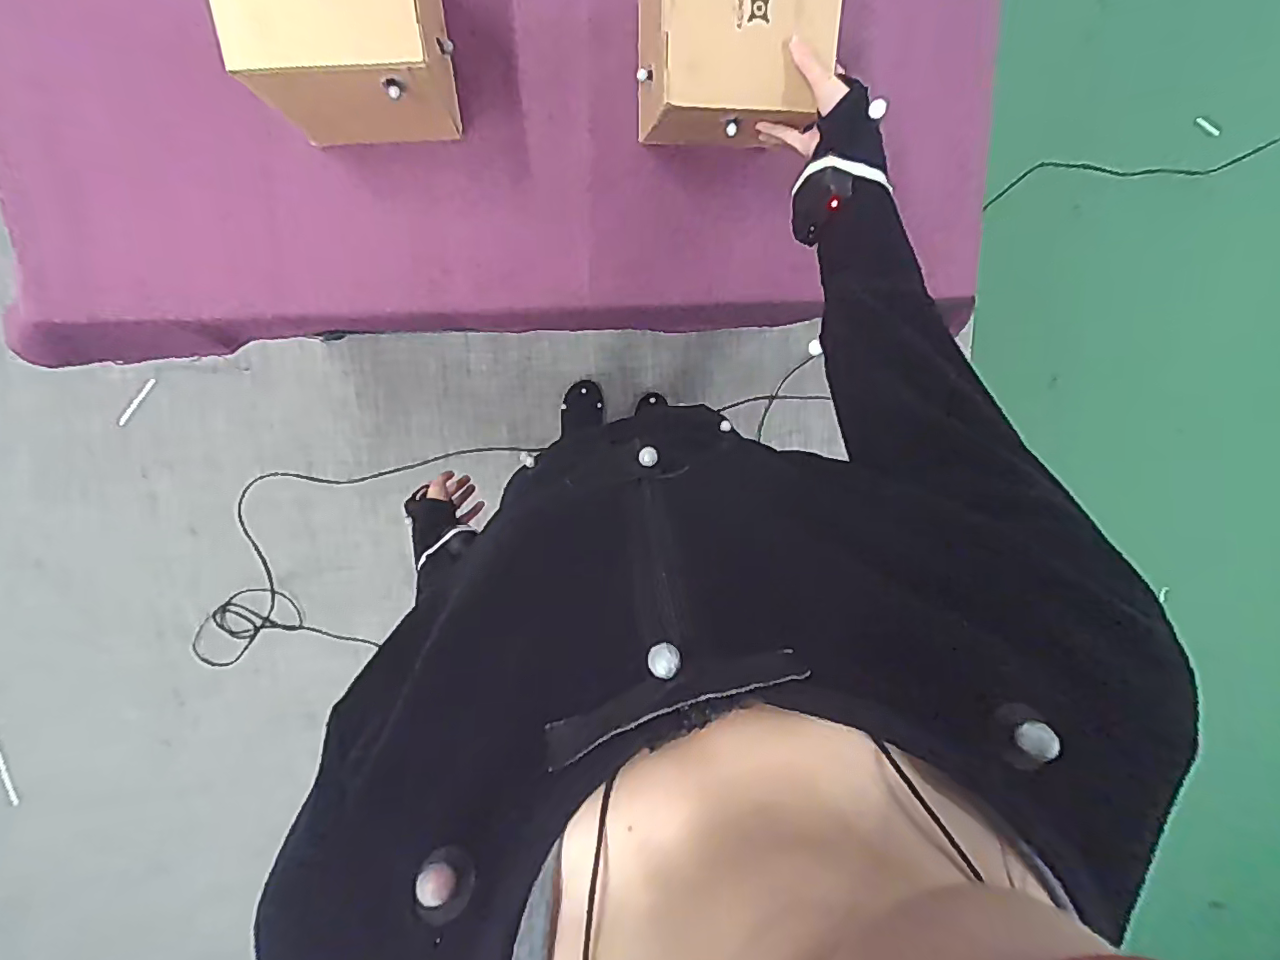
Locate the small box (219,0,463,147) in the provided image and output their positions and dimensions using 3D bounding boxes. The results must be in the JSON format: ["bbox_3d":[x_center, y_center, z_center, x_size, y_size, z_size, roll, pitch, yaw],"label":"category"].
[{"bbox_3d":[-0.297,-0.467,0.557,0.179,0.176,0.168,-8,101,-7],"label":"small box"}]

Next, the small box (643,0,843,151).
[{"bbox_3d":[0.099,-0.473,0.592,0.179,0.176,0.168,-3,112,-9],"label":"small box"}]
